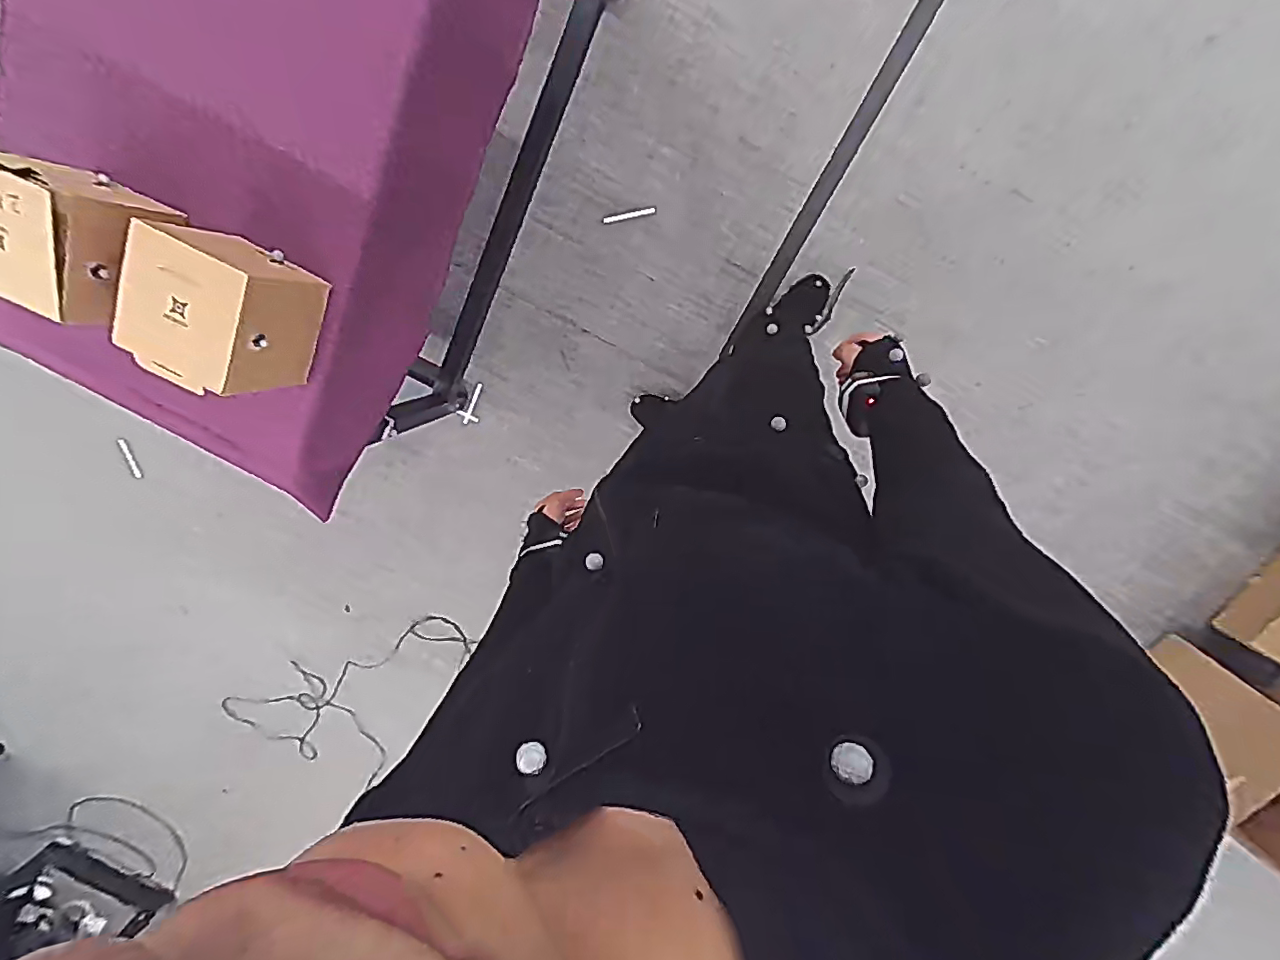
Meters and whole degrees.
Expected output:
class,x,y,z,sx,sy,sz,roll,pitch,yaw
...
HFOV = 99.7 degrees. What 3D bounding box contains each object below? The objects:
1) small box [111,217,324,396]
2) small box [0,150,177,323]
class,x,y,z,sx,sy,sz,roll,pitch,yaw
small box,-0.595,-0.245,0.780,0.168,0.176,0.179,26,108,-2
small box,-0.817,-0.341,0.776,0.168,0.176,0.179,24,108,-2
